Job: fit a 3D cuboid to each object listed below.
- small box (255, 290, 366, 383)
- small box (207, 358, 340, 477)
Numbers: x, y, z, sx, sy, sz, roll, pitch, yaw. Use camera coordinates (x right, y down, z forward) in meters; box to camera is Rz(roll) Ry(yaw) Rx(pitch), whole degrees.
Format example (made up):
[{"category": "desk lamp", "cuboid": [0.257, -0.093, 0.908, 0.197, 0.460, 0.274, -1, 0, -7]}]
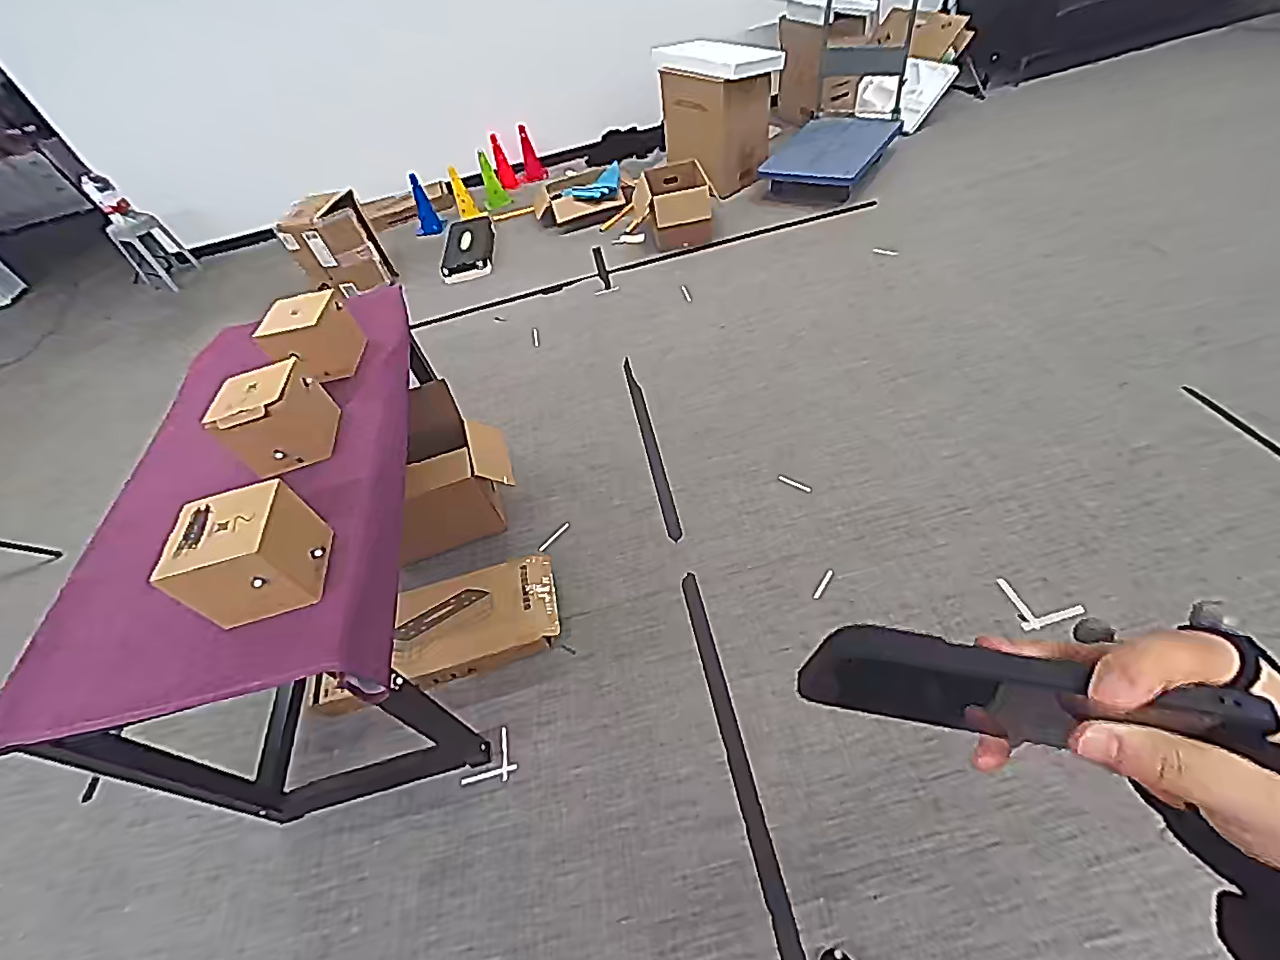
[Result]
[{"category": "small box", "cuboid": [-0.858, -0.370, 1.429, 0.168, 0.176, 0.179, -11, 48, 3]}, {"category": "small box", "cuboid": [-0.809, -0.138, 1.216, 0.168, 0.176, 0.179, -18, 48, 0]}]
